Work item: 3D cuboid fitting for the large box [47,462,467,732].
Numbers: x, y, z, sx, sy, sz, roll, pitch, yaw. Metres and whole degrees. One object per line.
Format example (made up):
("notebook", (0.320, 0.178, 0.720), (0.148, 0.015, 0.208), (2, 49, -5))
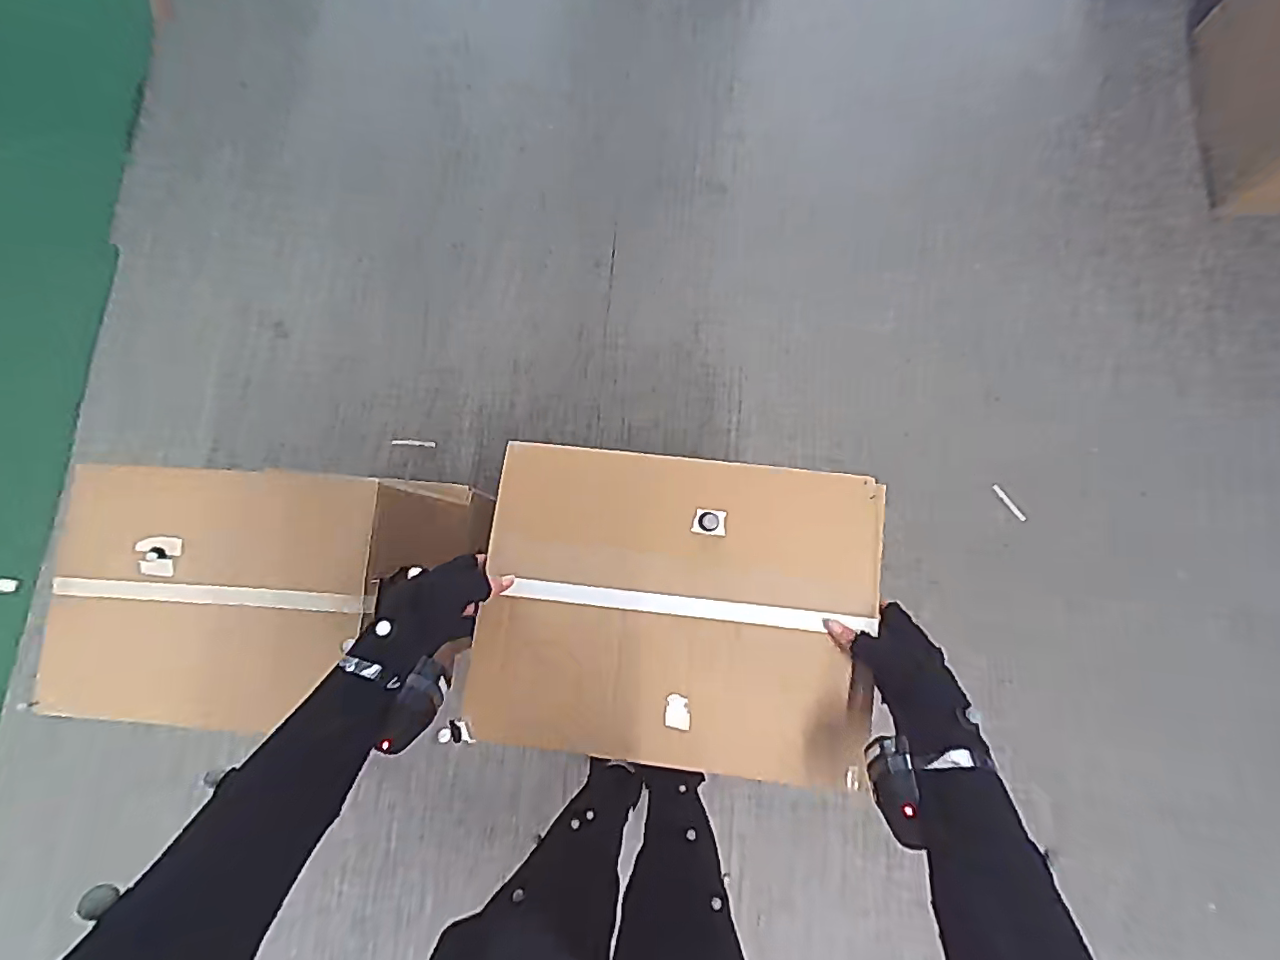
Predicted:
("large box", (-0.520, 0.154, 0.818), (0.408, 0.320, 0.320), (4, 83, 5))
